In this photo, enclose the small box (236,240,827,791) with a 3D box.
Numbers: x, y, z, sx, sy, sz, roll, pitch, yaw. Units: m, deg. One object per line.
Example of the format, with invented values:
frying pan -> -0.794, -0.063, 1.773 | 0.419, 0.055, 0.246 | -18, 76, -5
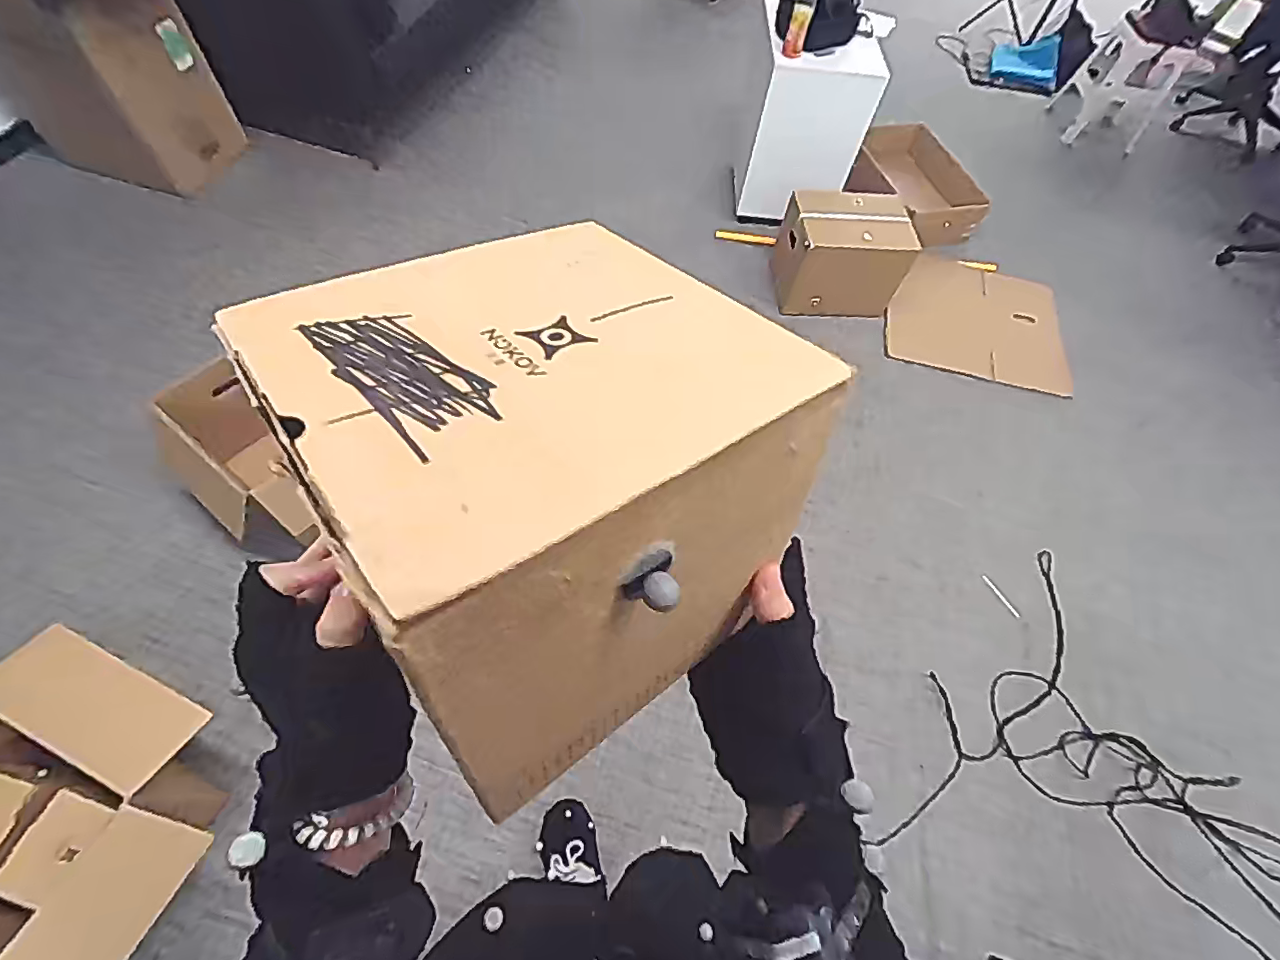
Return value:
small box -> -0.045, 0.010, 0.265 | 0.179, 0.176, 0.168 | -29, 53, -28
